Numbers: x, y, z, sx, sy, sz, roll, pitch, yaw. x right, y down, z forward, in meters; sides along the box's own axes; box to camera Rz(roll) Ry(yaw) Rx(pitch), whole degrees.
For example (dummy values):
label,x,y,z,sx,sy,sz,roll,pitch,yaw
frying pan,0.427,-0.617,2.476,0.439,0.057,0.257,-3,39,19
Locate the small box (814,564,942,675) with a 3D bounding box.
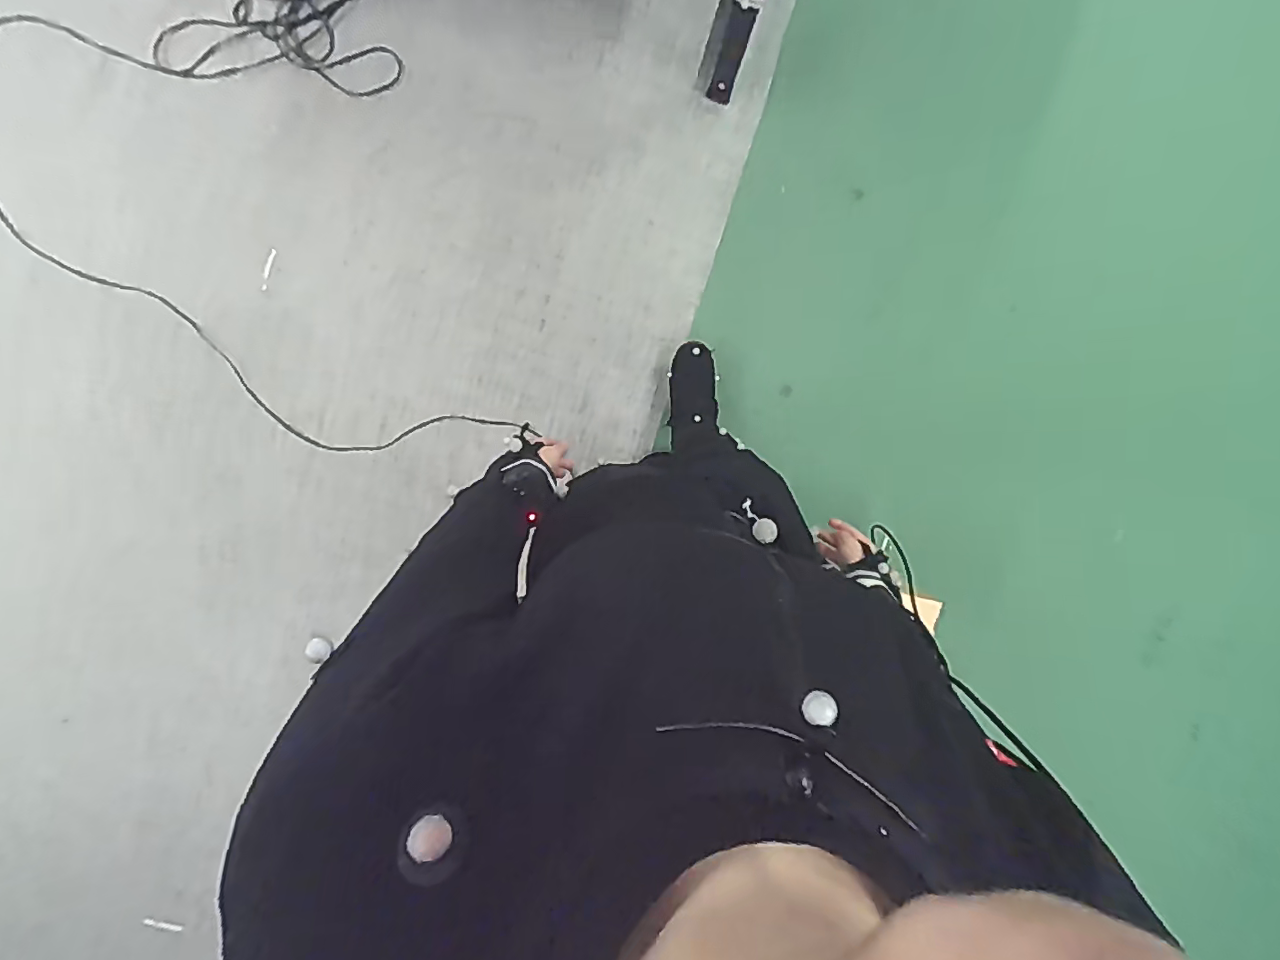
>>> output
label,x,y,z,sx,sy,sz,roll,pitch,yaw
small box,0.501,0.291,1.168,0.179,0.176,0.168,14,96,-4
